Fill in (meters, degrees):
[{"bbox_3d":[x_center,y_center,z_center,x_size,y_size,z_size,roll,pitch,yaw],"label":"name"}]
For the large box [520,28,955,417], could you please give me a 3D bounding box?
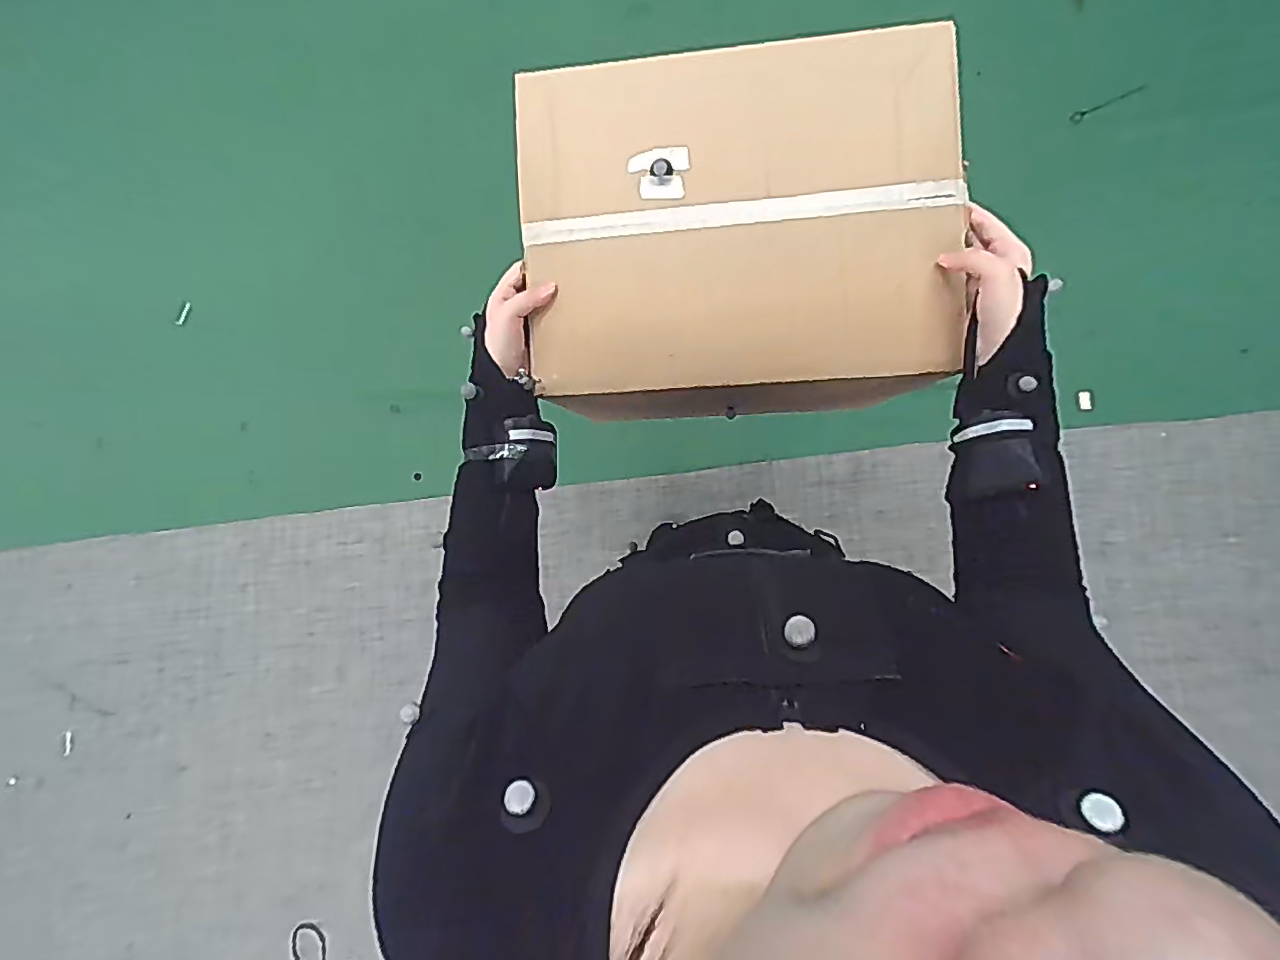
[{"bbox_3d":[0.106,-0.252,0.665,0.408,0.320,0.320,-3,91,8],"label":"large box"}]
